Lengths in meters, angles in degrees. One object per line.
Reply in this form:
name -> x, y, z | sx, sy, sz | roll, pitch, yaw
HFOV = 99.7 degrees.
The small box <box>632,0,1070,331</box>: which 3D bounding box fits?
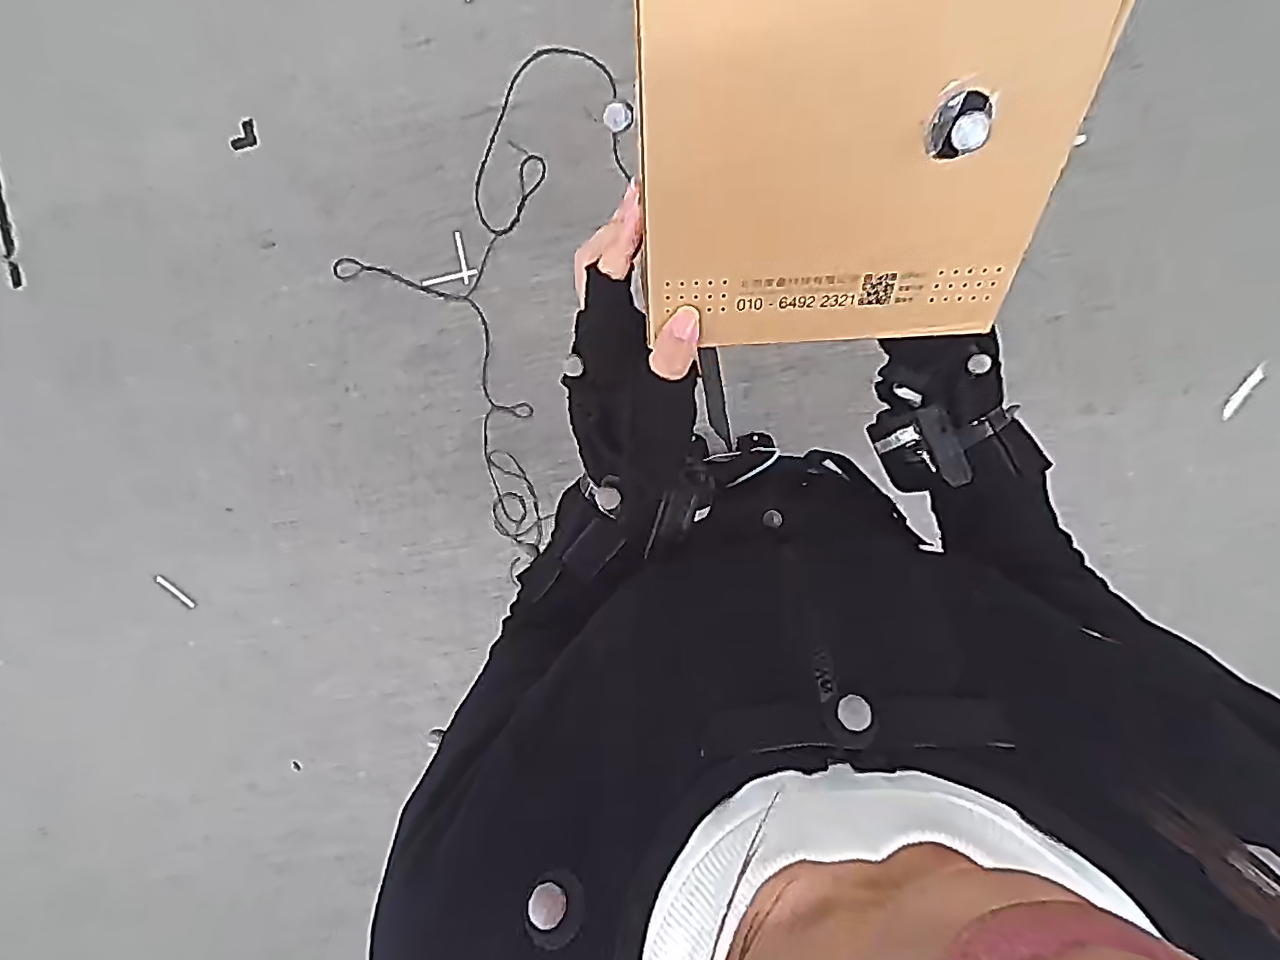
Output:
small box -> 0.082, -0.190, 0.287 | 0.168, 0.179, 0.176 | -2, 133, 1
